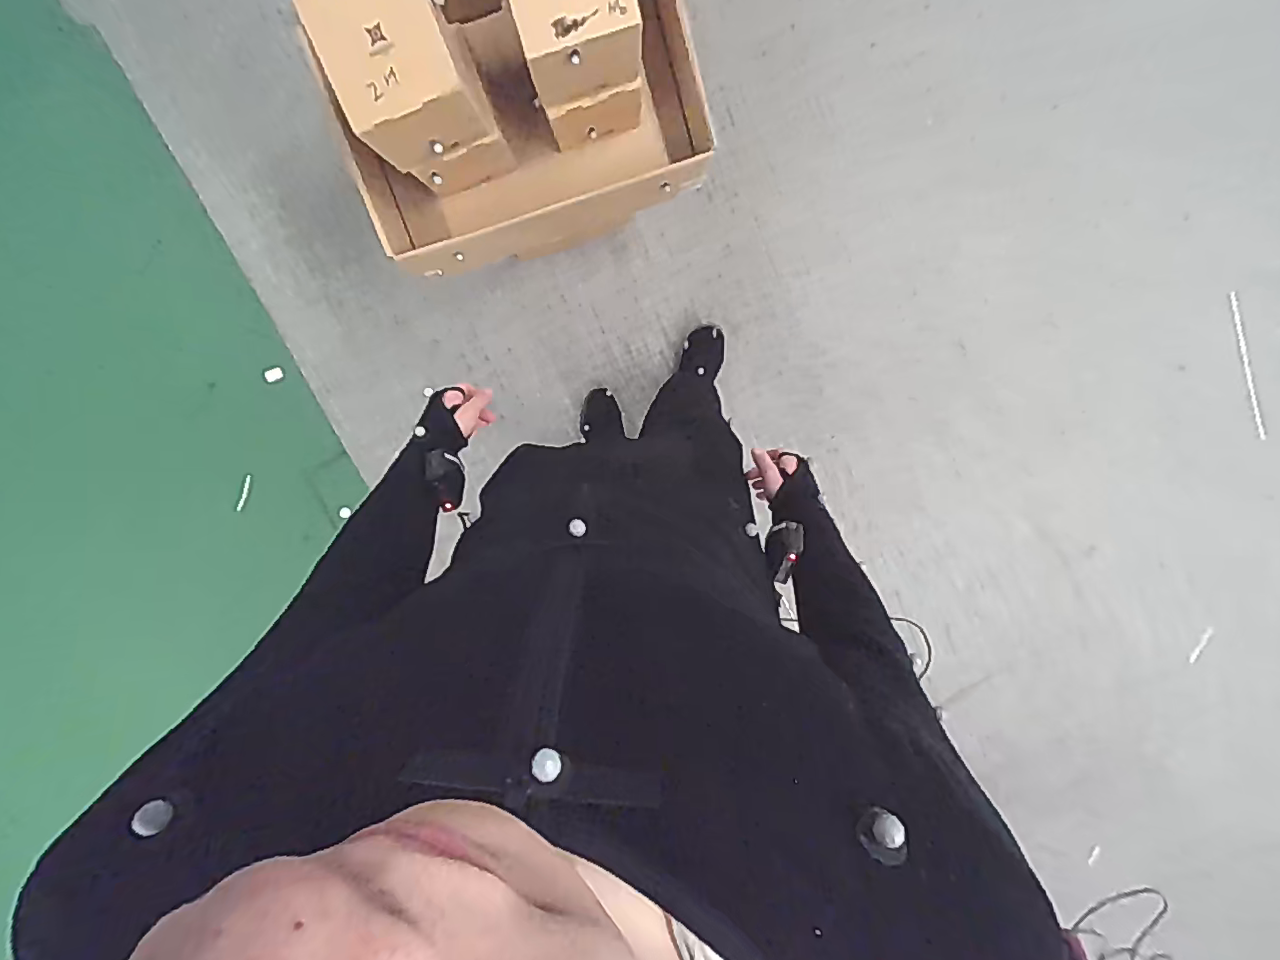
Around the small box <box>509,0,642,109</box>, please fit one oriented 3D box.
[{"bbox_3d":[-0.101,-0.682,0.778,0.168,0.176,0.179,-16,105,2],"label":"small box"}]

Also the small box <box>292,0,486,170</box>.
[{"bbox_3d":[-0.349,-0.593,0.788,0.168,0.176,0.179,-21,105,3],"label":"small box"}]

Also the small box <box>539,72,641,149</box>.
[{"bbox_3d":[-0.104,-0.717,0.939,0.168,0.176,0.179,-18,106,2],"label":"small box"}]
